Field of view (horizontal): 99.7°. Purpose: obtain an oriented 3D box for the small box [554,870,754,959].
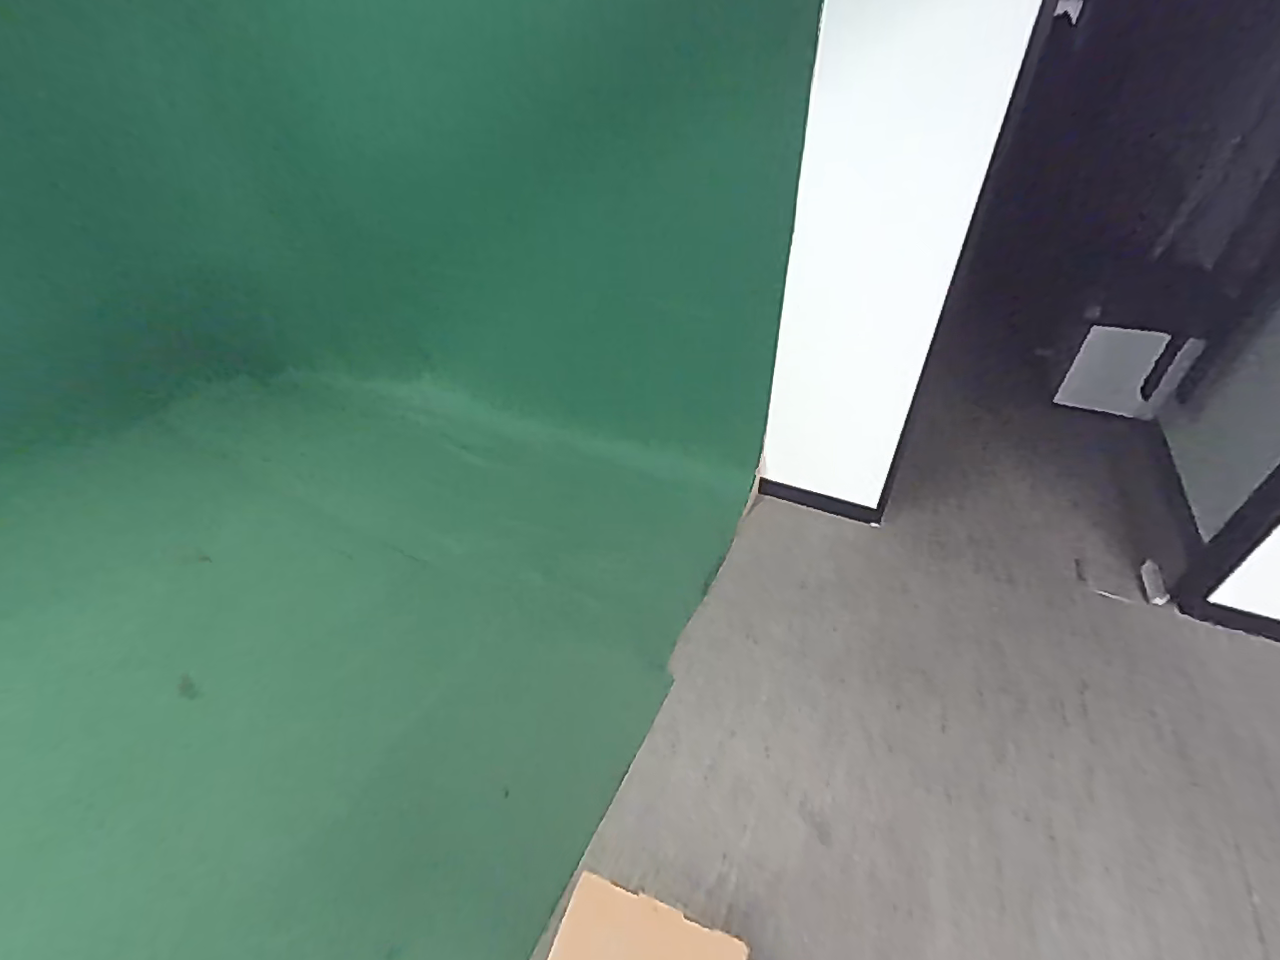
[{"bbox_3d":[0.001,0.509,0.496,0.168,0.176,0.179,10,45,21],"label":"small box"}]
